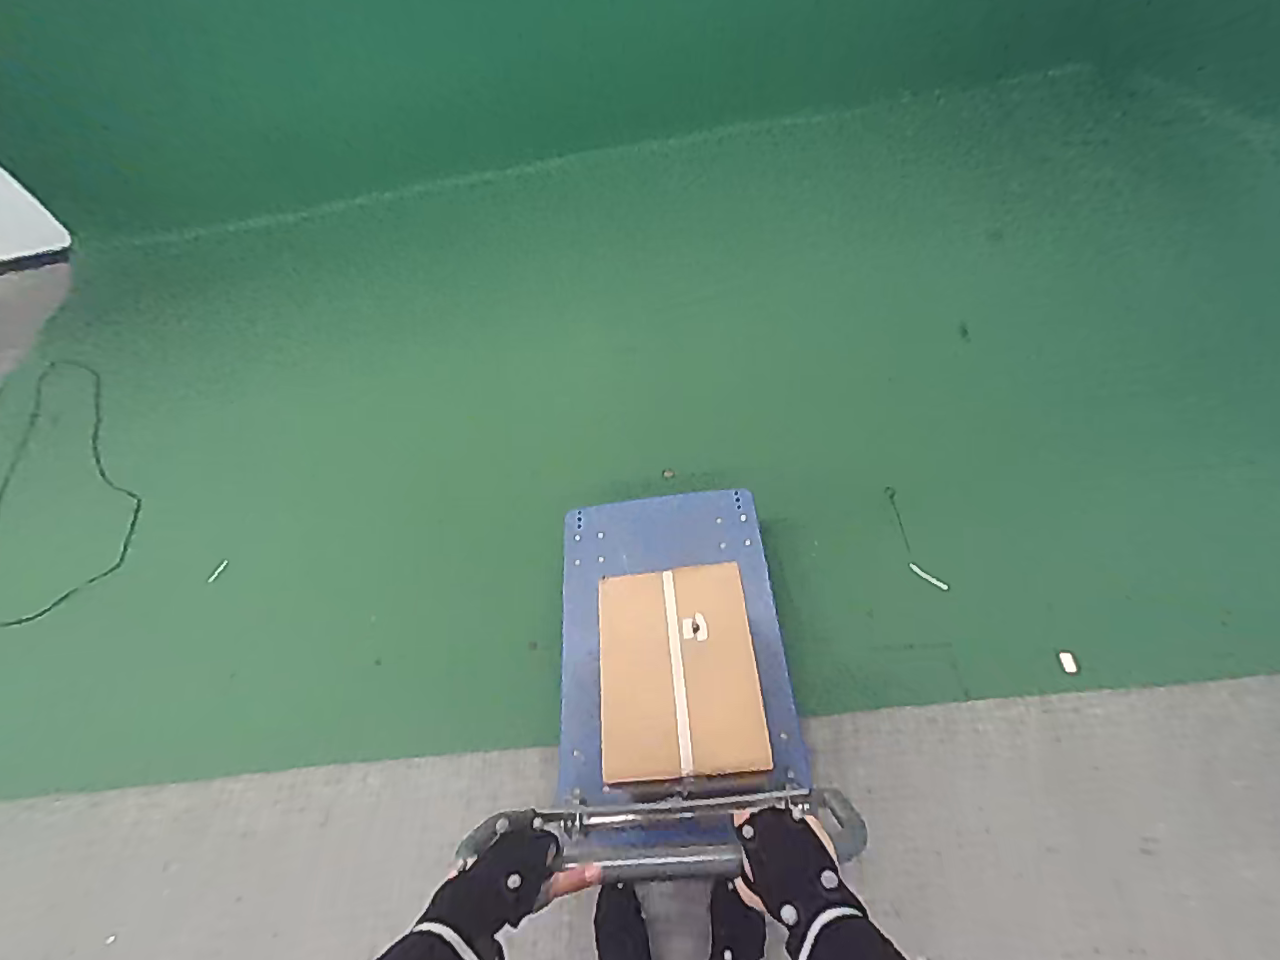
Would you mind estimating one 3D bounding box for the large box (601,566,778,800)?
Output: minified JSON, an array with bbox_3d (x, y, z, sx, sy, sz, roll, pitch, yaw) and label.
[{"bbox_3d":[0.102,0.452,1.191,0.320,0.320,0.408,-7,55,4],"label":"large box"}]
